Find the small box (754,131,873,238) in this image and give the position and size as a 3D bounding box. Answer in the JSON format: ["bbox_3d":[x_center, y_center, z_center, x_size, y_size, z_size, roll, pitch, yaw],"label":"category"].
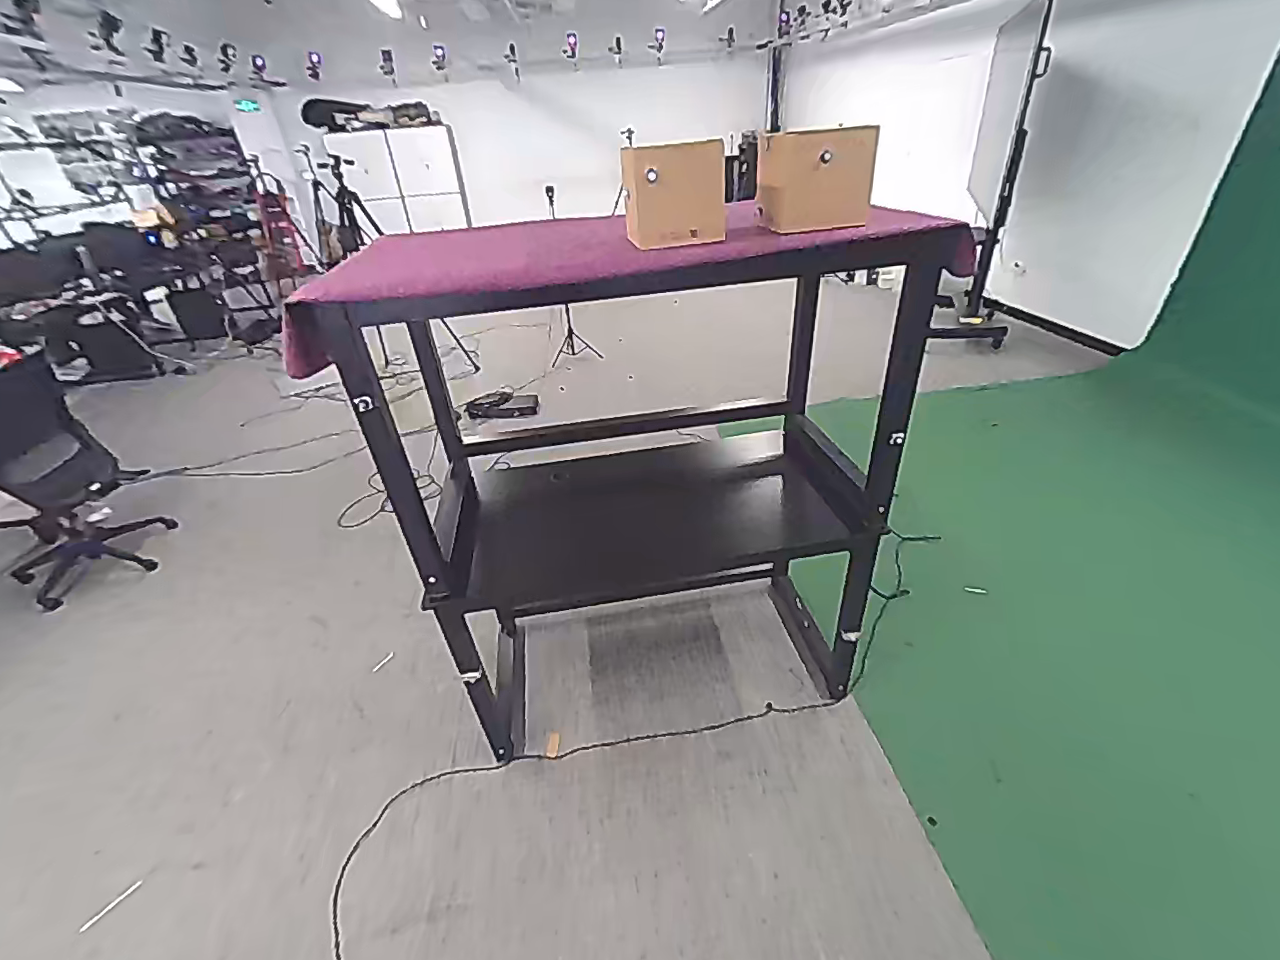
[{"bbox_3d":[0.337,-0.591,1.086,0.179,0.176,0.168,-8,32,-5],"label":"small box"}]
